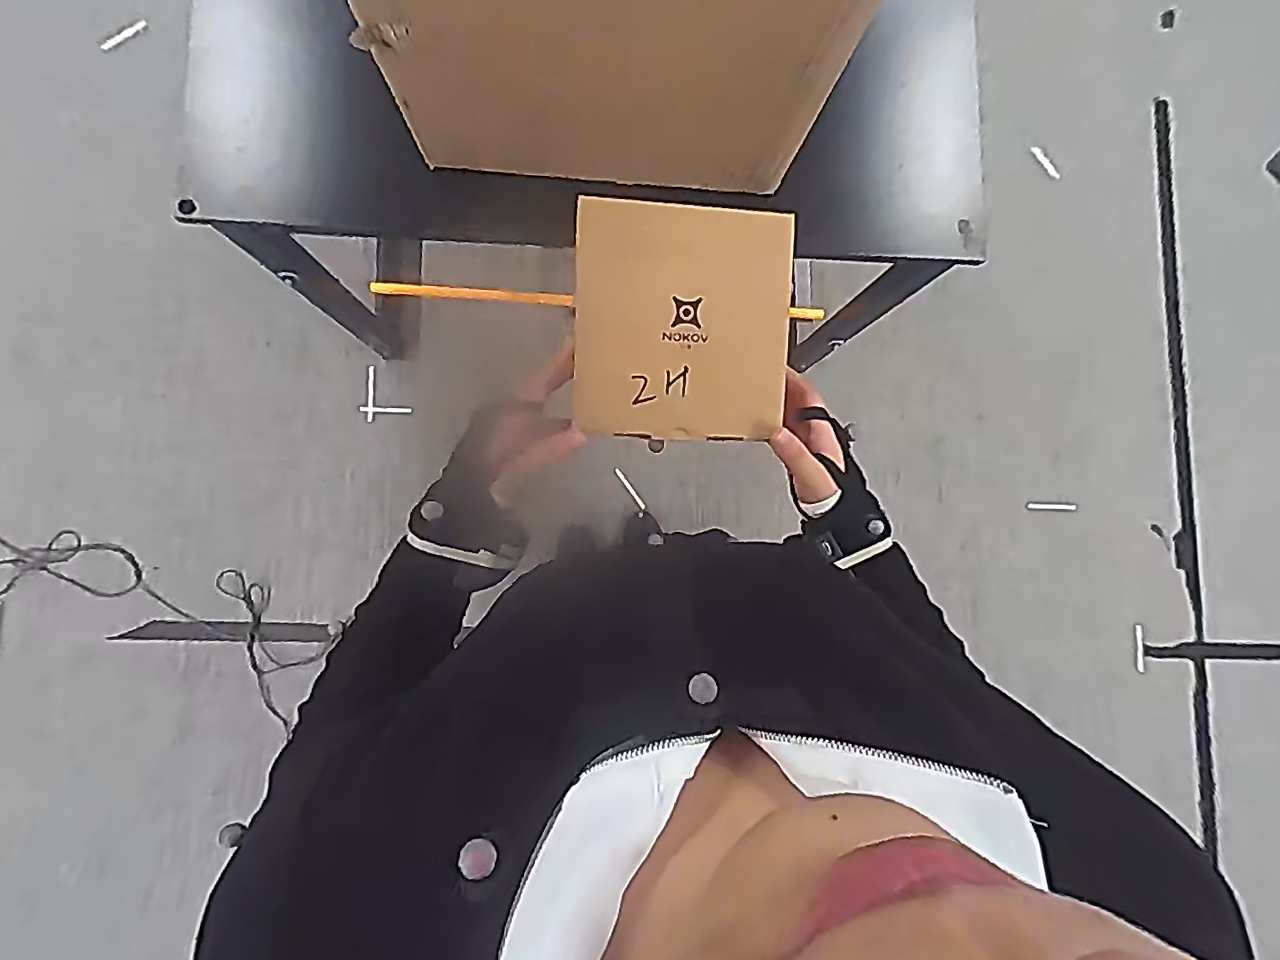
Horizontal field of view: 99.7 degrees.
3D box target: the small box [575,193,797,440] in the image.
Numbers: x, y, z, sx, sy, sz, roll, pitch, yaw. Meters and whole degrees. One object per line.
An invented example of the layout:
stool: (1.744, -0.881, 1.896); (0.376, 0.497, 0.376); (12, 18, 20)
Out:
small box: (0.027, -0.127, 0.488); (0.168, 0.176, 0.179); (2, 95, -7)
